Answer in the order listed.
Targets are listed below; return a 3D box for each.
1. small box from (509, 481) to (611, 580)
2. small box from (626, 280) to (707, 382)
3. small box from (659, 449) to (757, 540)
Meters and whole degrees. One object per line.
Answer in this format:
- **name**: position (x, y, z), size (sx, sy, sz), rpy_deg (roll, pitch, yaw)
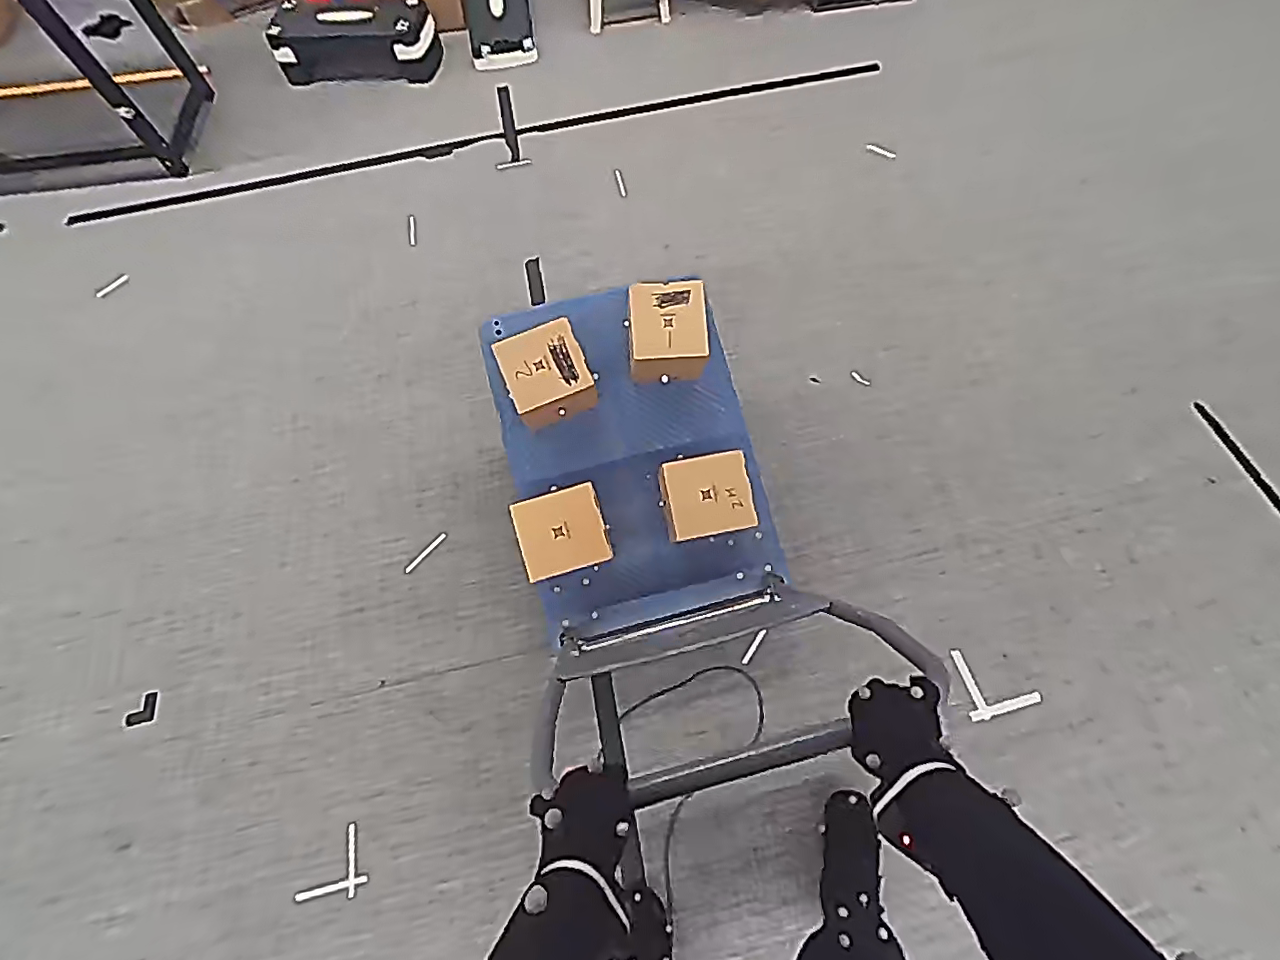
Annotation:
- **small box**: position (-0.166, 0.115, 1.178), size (0.179, 0.176, 0.168), rpy_deg (-17, 83, -6)
- **small box**: position (0.055, -0.339, 1.249), size (0.168, 0.176, 0.179), rpy_deg (-4, 83, -3)
- **small box**: position (0.141, 0.038, 1.199), size (0.179, 0.176, 0.168), rpy_deg (-11, 83, -3)
